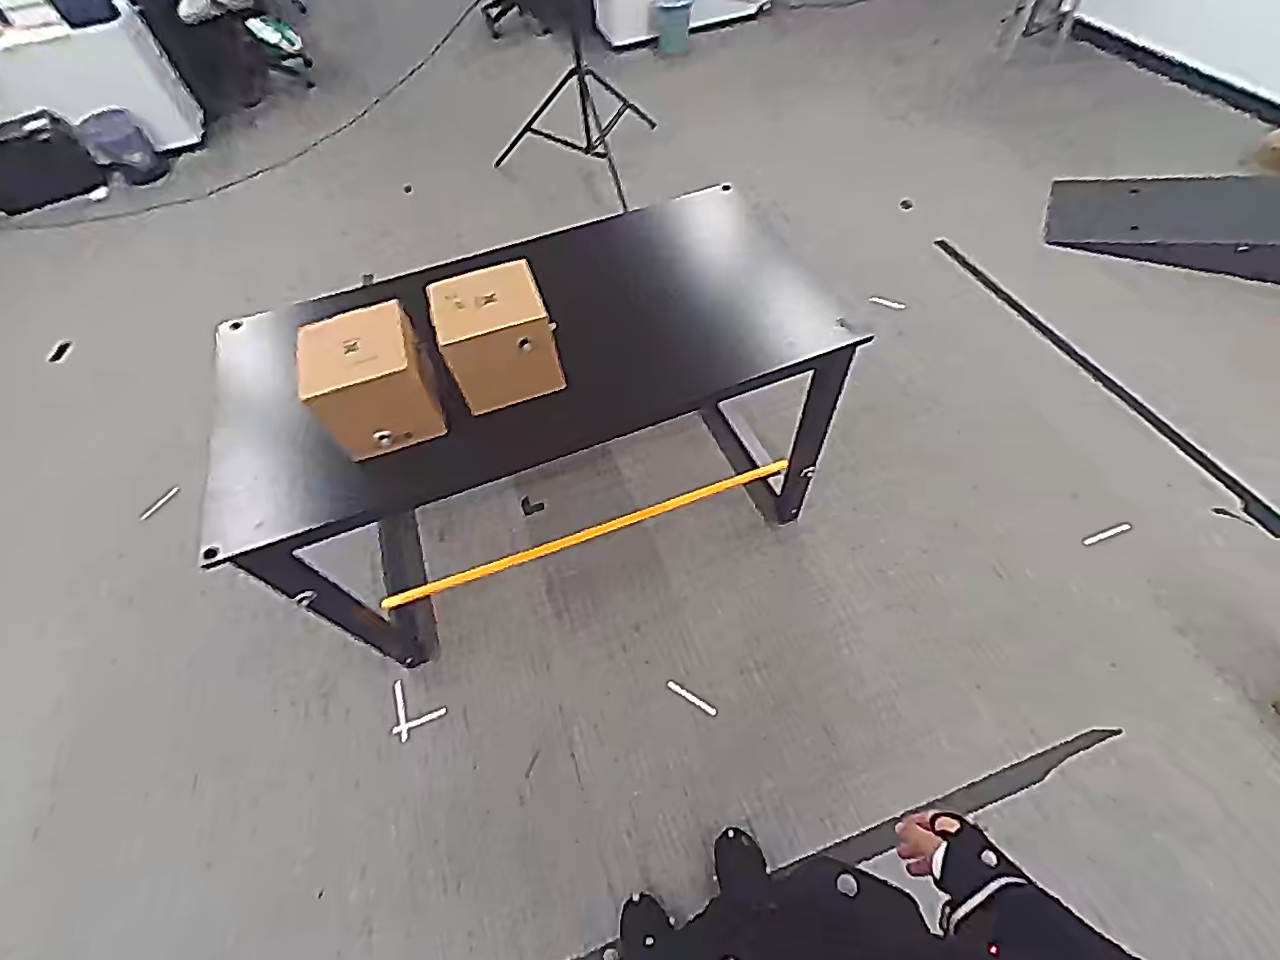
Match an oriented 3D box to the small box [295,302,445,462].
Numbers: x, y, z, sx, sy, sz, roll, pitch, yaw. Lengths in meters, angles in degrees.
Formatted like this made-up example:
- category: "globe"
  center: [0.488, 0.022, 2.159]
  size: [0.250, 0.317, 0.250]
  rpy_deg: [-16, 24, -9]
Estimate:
- category: "small box"
  center: [-0.451, -0.161, 0.915]
  size: [0.168, 0.176, 0.179]
  rpy_deg: [-21, 58, -7]
